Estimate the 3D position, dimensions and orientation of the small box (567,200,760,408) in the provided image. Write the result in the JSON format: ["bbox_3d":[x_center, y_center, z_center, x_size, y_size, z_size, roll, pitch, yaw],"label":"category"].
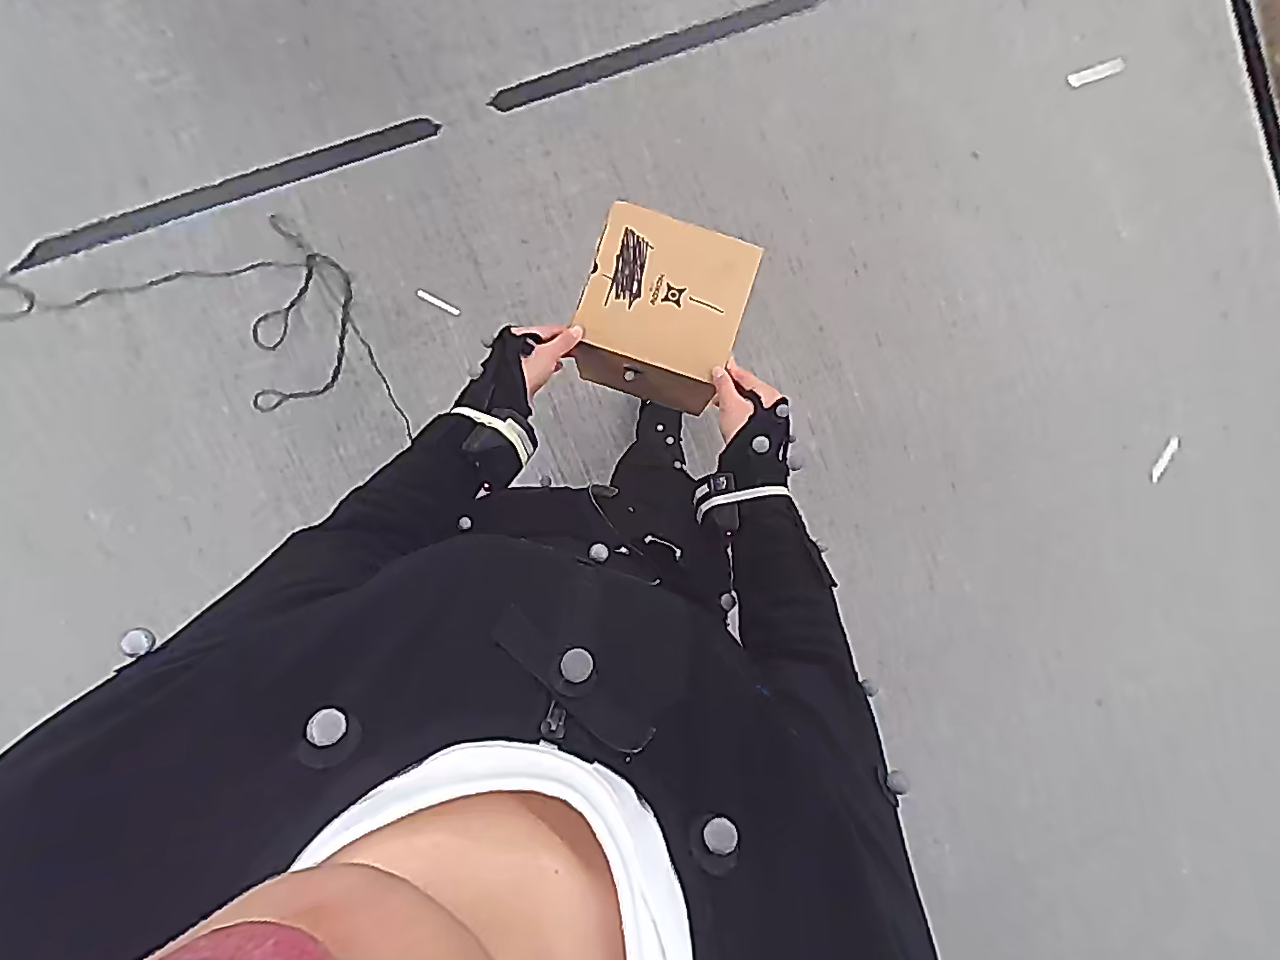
[{"bbox_3d":[0.024,-0.201,0.668,0.179,0.176,0.168,17,85,-1],"label":"small box"}]
